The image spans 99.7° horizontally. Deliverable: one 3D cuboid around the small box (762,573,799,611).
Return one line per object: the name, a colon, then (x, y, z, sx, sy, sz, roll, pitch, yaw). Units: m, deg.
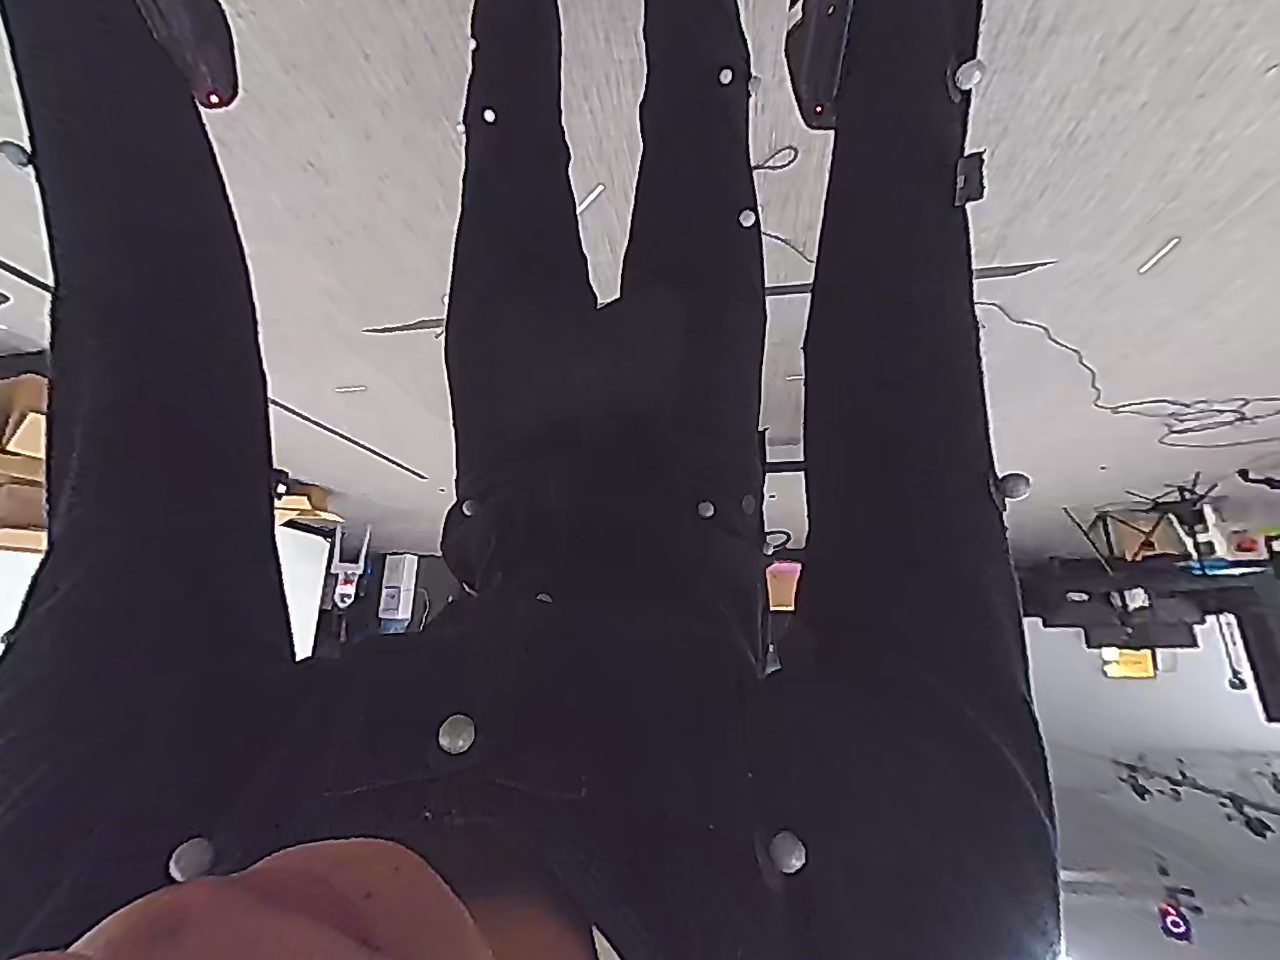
small box: (0.692, 0.557, 2.669, 0.168, 0.176, 0.179, -3, 162, 12)
